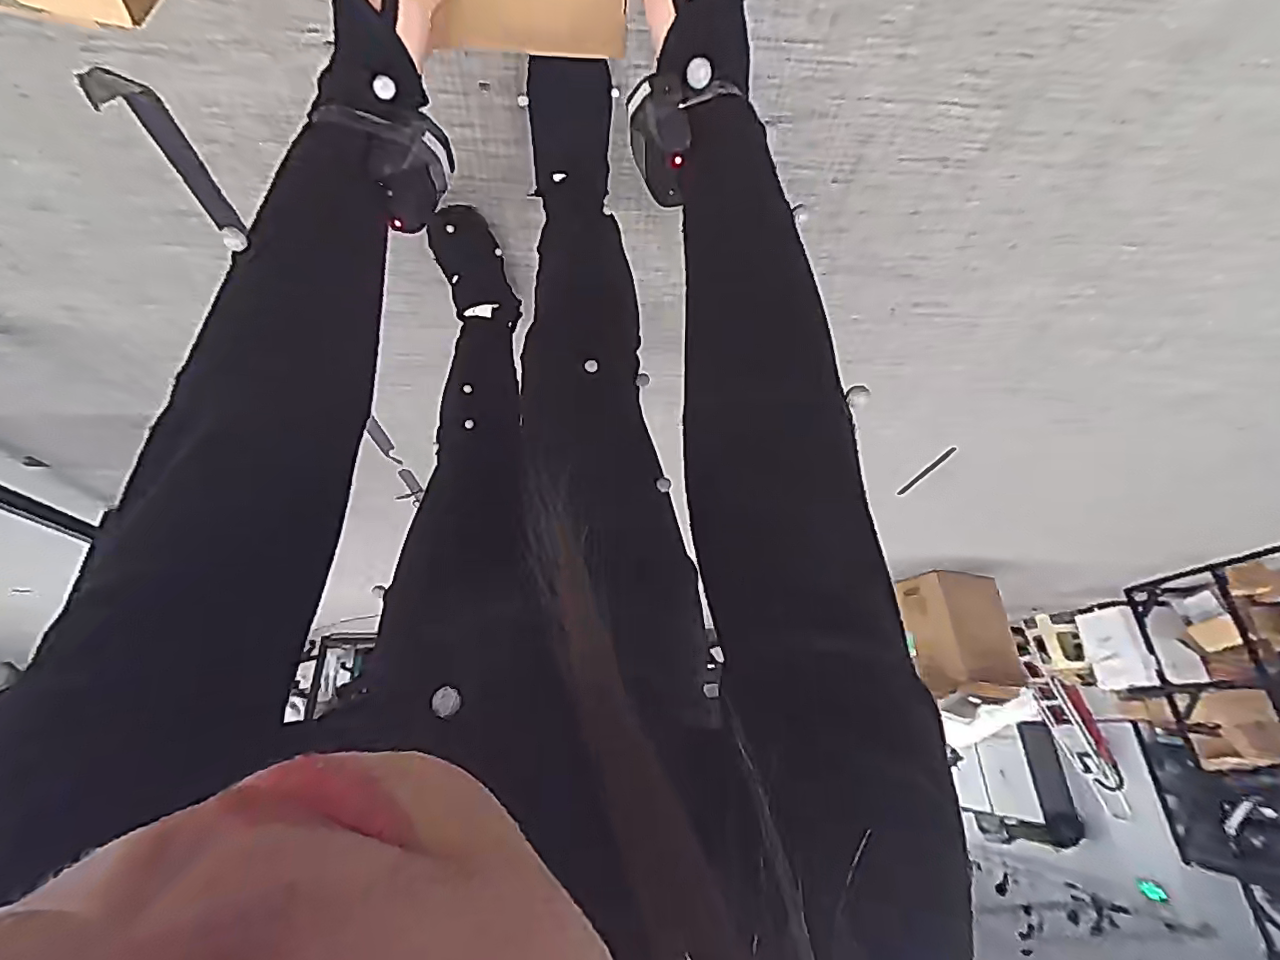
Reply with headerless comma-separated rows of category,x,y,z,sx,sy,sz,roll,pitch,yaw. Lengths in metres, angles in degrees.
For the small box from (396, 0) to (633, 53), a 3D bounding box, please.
small box,-0.091,-0.449,0.386,0.179,0.176,0.168,1,154,-5
